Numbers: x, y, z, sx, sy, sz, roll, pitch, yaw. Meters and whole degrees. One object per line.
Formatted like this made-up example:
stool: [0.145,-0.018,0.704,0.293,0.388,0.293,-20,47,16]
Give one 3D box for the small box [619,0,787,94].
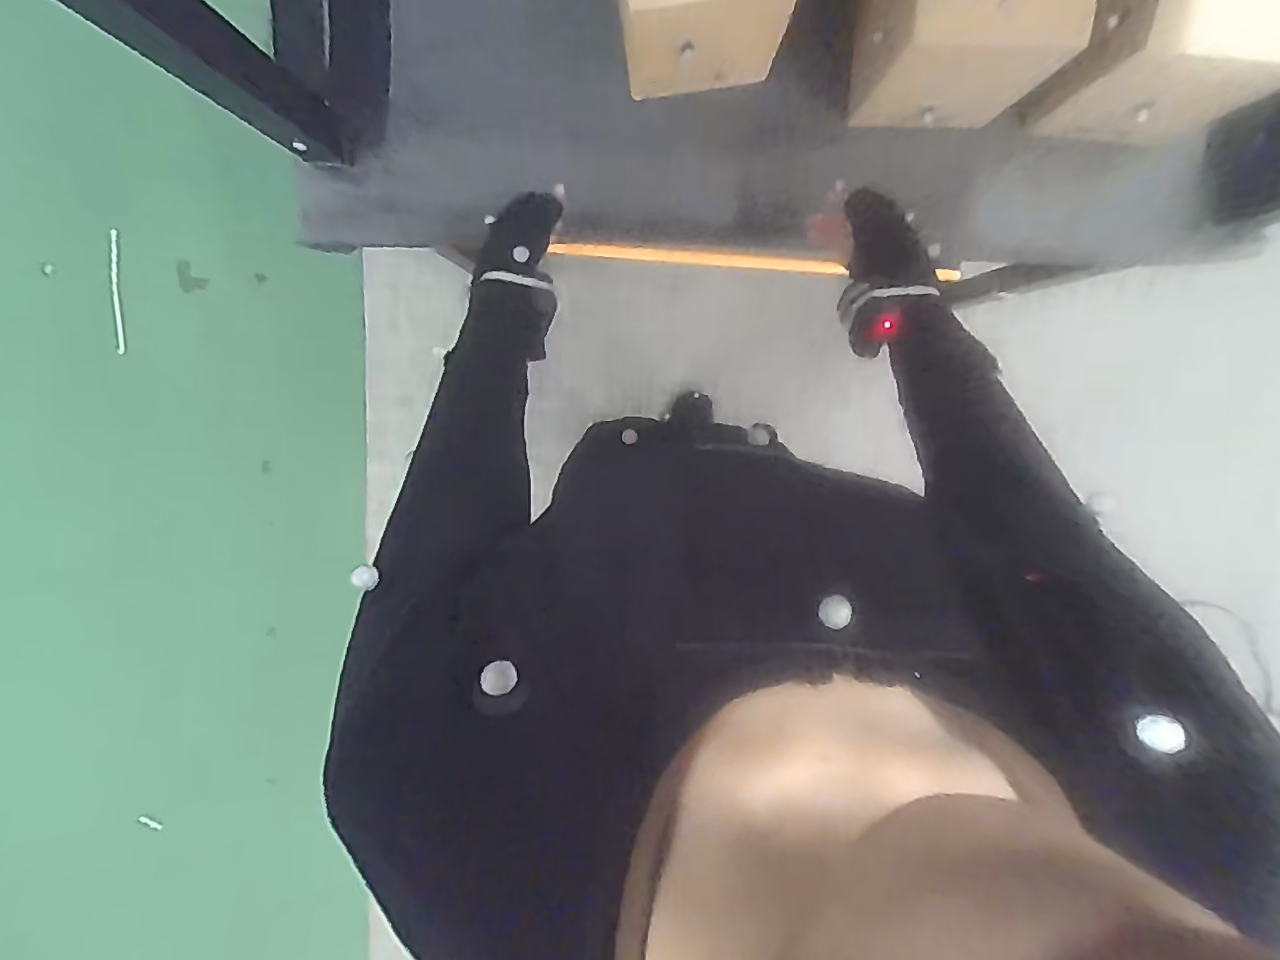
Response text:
small box: [0.059,-0.543,0.570,0.168,0.176,0.179,-7,99,2]
